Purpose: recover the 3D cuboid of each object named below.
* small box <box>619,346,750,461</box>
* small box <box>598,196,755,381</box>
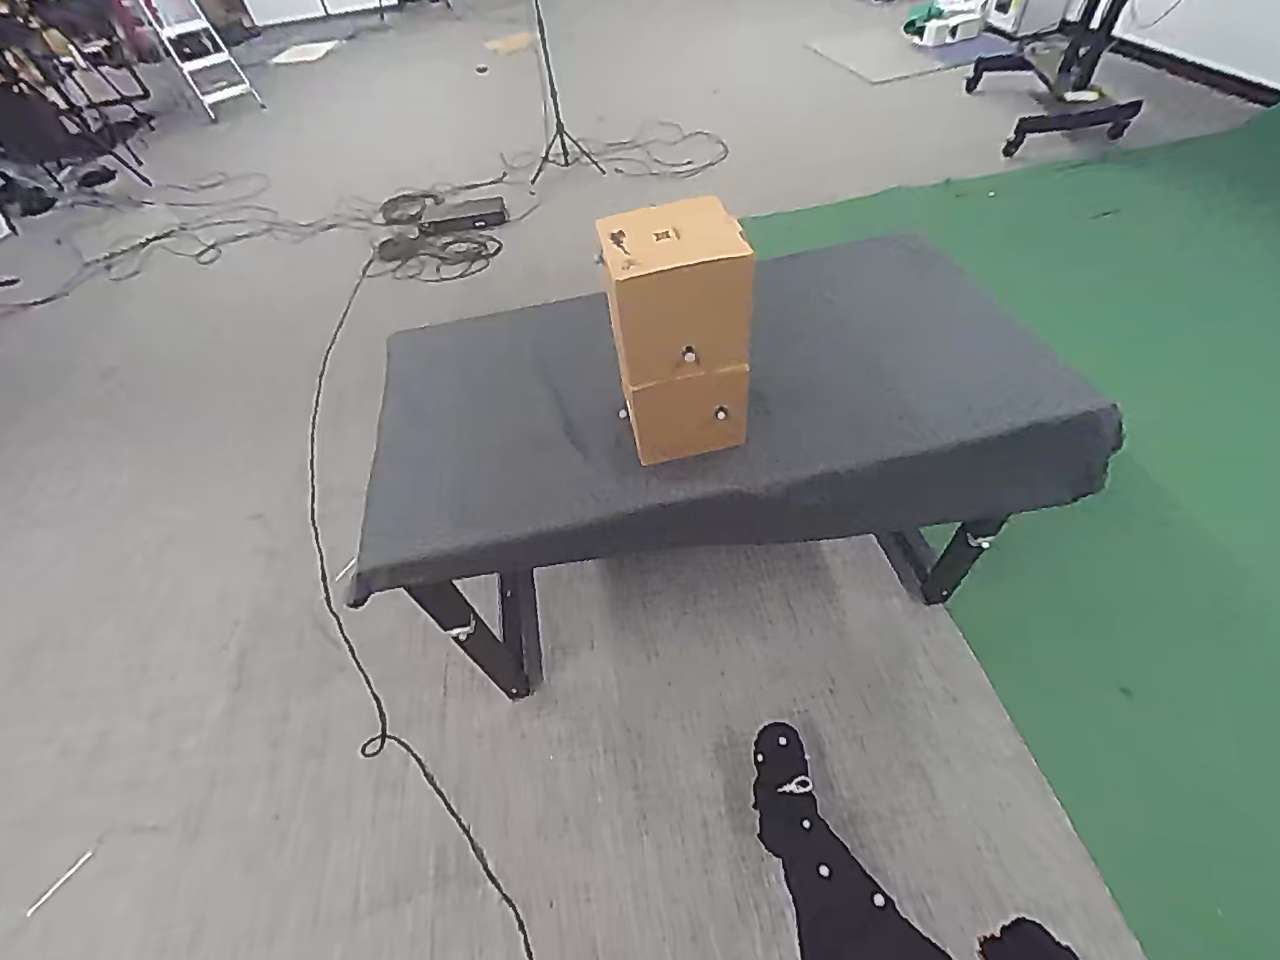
[{"bbox_3d":[0.067,-0.156,0.876,0.179,0.176,0.168,-14,50,-1],"label":"small box"},{"bbox_3d":[0.047,-0.263,0.754,0.179,0.176,0.168,-12,50,-2],"label":"small box"}]
